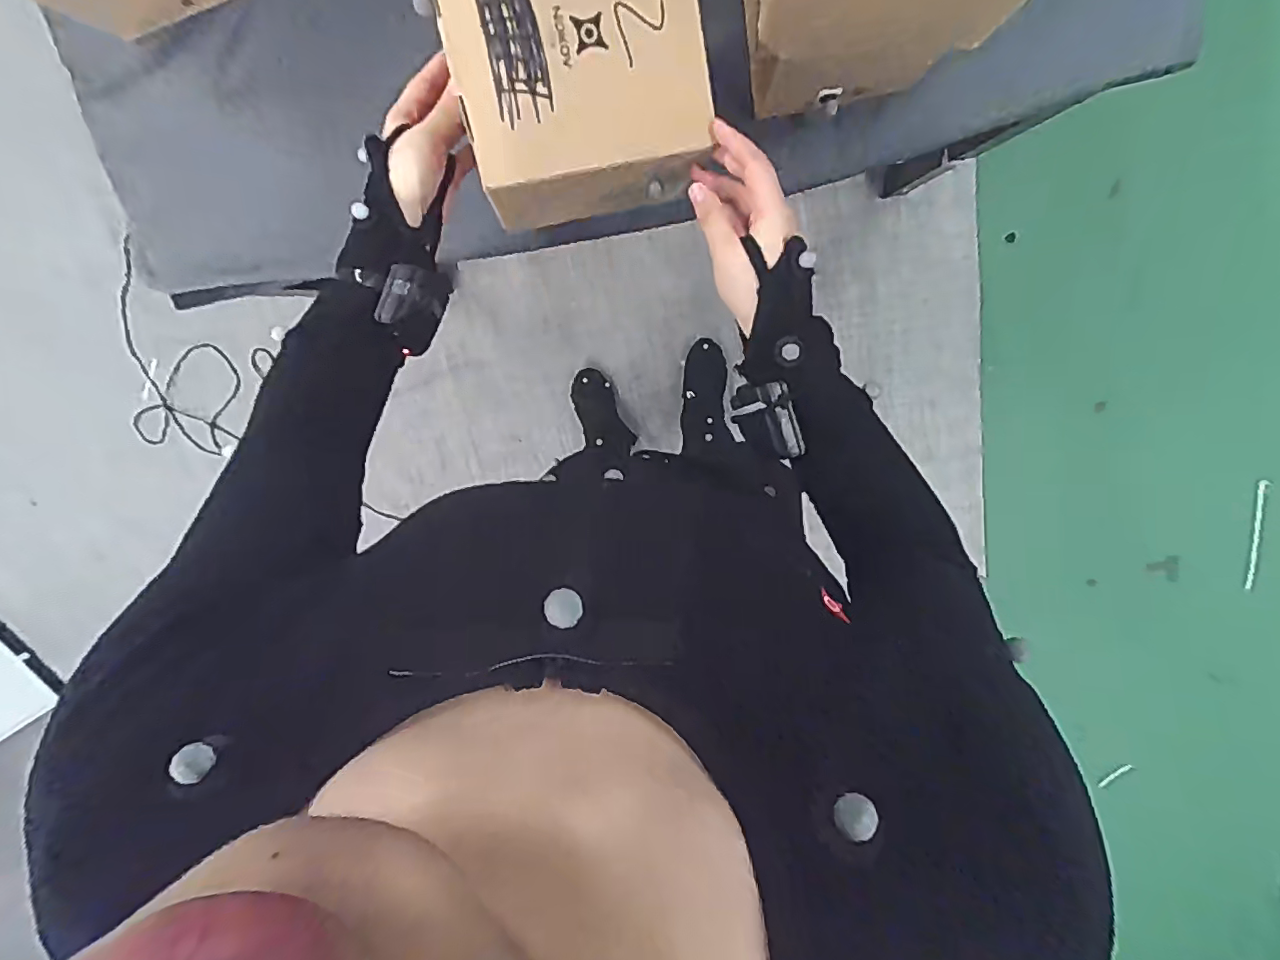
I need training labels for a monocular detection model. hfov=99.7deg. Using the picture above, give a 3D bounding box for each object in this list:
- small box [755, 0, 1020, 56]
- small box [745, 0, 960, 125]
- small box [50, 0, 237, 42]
[{"bbox_3d":[0.173,-0.393,0.332,0.179,0.176,0.168,2,107,6],"label":"small box"},{"bbox_3d":[0.185,-0.456,0.483,0.168,0.176,0.179,-8,107,9],"label":"small box"},{"bbox_3d":[-0.541,-0.572,0.510,0.168,0.176,0.179,-13,107,8],"label":"small box"}]
